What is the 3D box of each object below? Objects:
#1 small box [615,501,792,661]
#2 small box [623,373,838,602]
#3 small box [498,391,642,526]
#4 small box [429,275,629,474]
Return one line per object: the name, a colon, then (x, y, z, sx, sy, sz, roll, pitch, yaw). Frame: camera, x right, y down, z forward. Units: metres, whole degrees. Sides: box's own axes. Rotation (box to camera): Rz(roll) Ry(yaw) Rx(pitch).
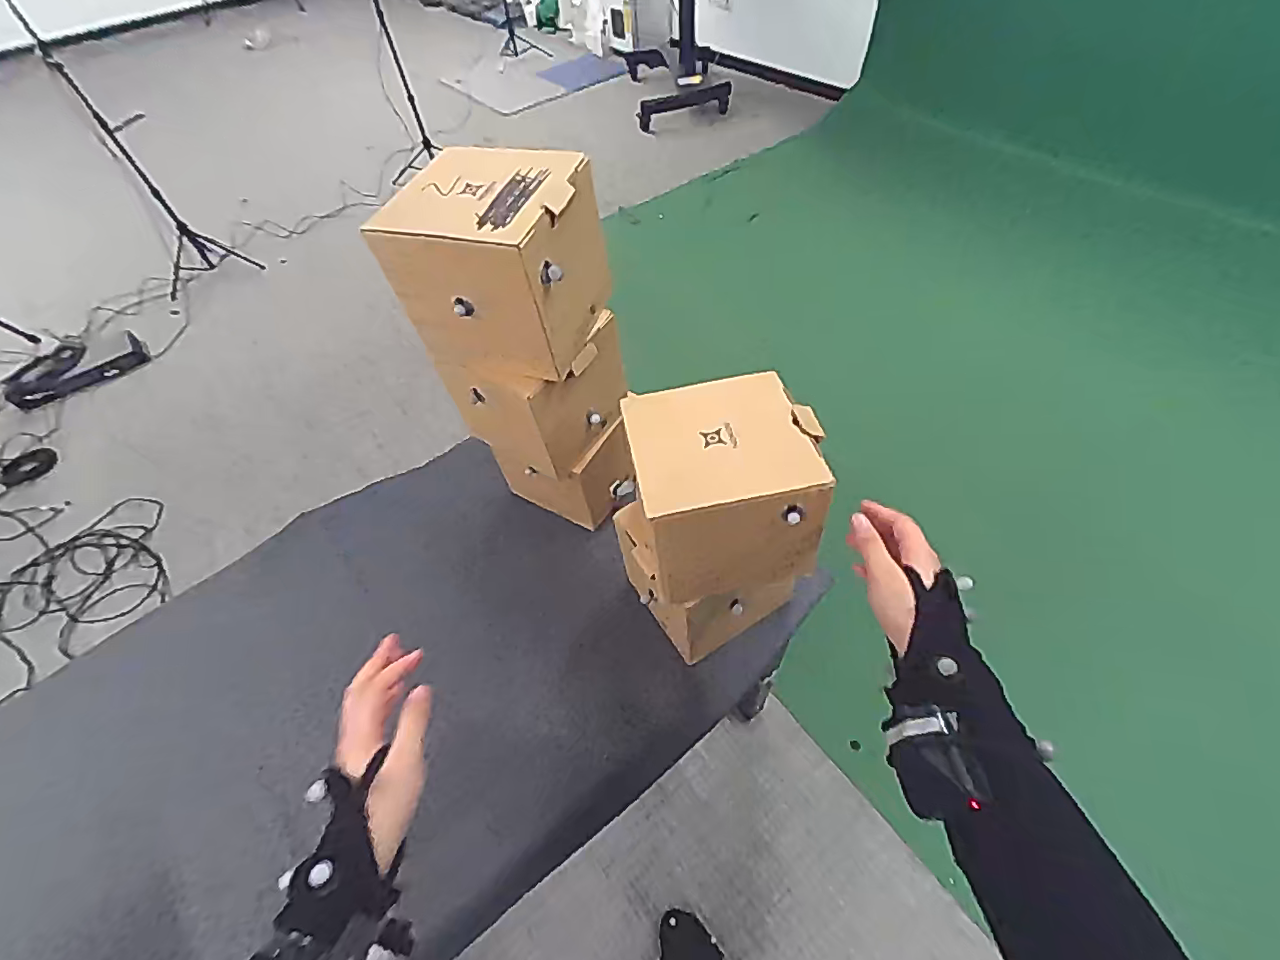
small box: (0.091, 0.108, 0.719, 0.179, 0.176, 0.168, -29, 53, -14)
small box: (0.087, 0.014, 0.585, 0.179, 0.176, 0.168, -11, 50, -2)
small box: (-0.105, -0.052, 0.861, 0.179, 0.176, 0.168, 24, 62, 19)
small box: (-0.135, -0.136, 0.720, 0.179, 0.176, 0.168, 27, 64, 23)
